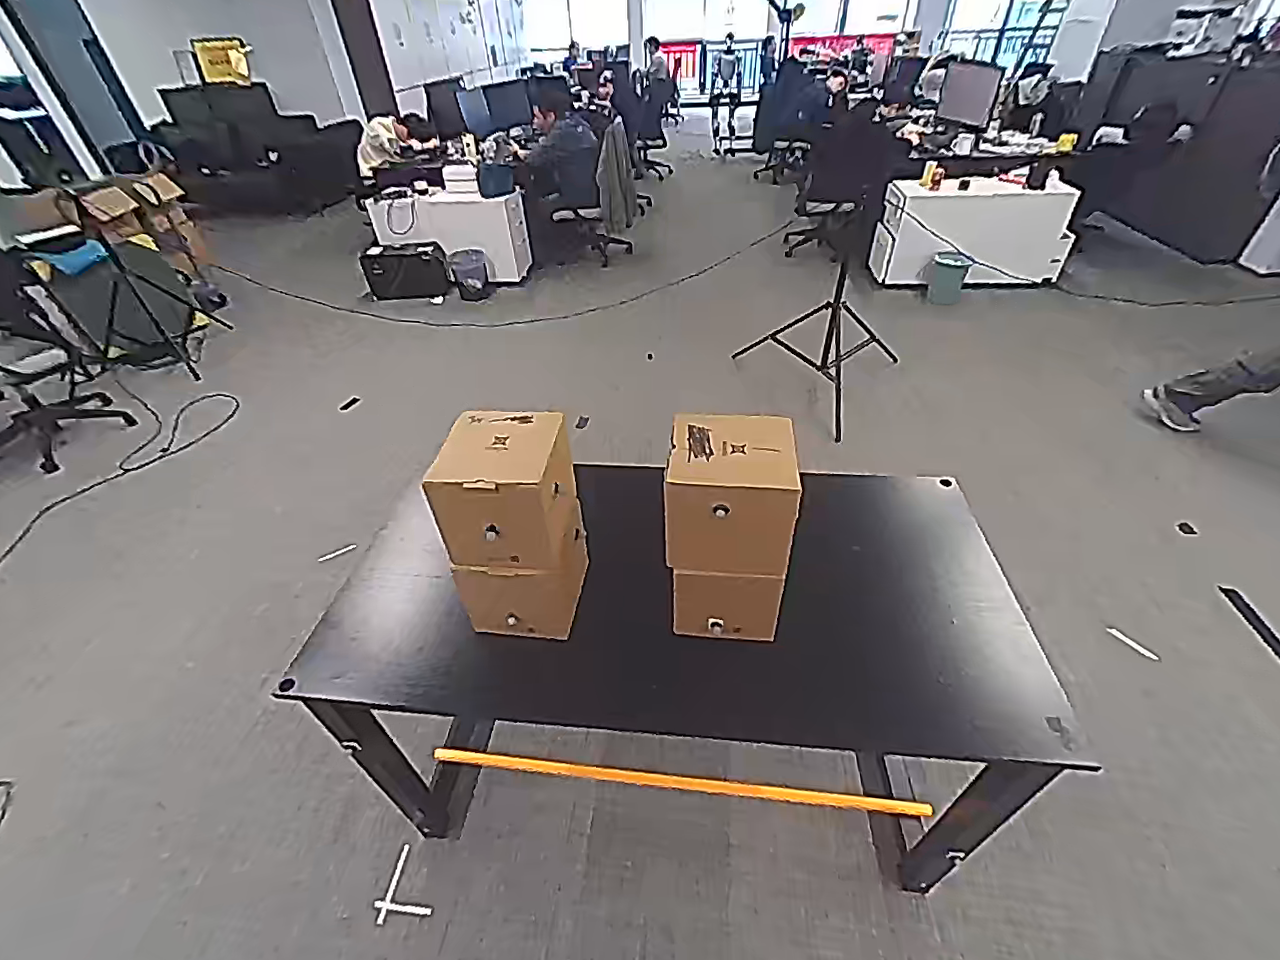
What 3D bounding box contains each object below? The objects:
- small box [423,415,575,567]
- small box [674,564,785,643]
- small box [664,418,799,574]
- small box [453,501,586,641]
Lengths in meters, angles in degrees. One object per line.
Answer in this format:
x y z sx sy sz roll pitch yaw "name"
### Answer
-0.200 0.017 0.830 0.168 0.176 0.179 2 41 5 "small box"
0.144 0.149 0.911 0.168 0.176 0.179 1 41 6 "small box"
0.133 0.023 0.806 0.179 0.176 0.168 3 40 7 "small box"
-0.193 0.148 0.928 0.168 0.176 0.179 3 41 7 "small box"
